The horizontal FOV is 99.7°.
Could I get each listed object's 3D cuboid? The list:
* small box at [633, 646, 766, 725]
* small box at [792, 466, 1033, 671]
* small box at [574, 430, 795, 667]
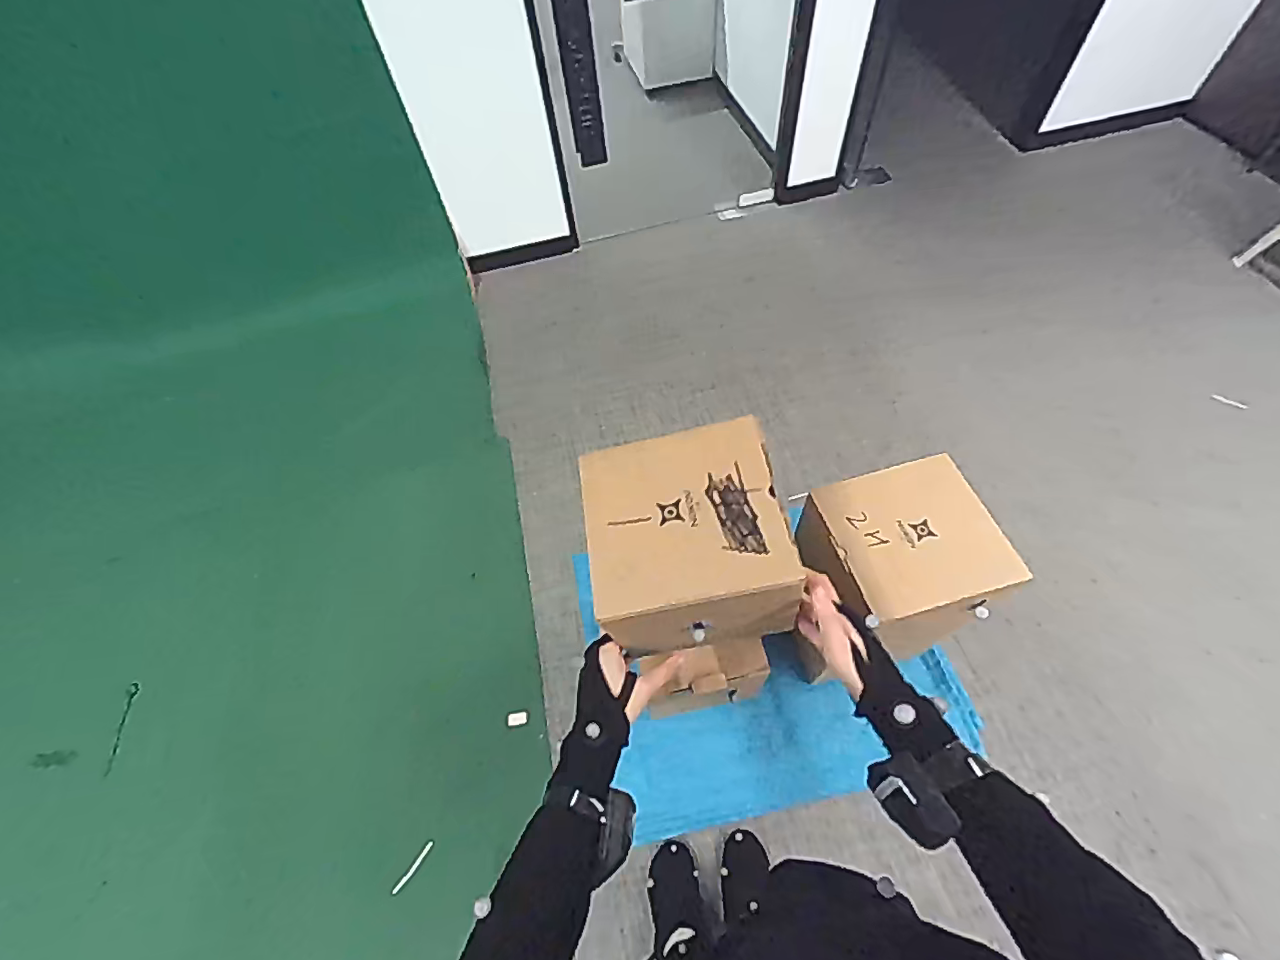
[{"bbox_3d":[0.071,0.243,0.781,0.168,0.176,0.179,-10,56,-3],"label":"small box"},{"bbox_3d":[0.302,0.111,0.648,0.179,0.176,0.168,-14,56,-3],"label":"small box"},{"bbox_3d":[0.044,0.078,0.544,0.179,0.176,0.168,-13,58,6],"label":"small box"}]
